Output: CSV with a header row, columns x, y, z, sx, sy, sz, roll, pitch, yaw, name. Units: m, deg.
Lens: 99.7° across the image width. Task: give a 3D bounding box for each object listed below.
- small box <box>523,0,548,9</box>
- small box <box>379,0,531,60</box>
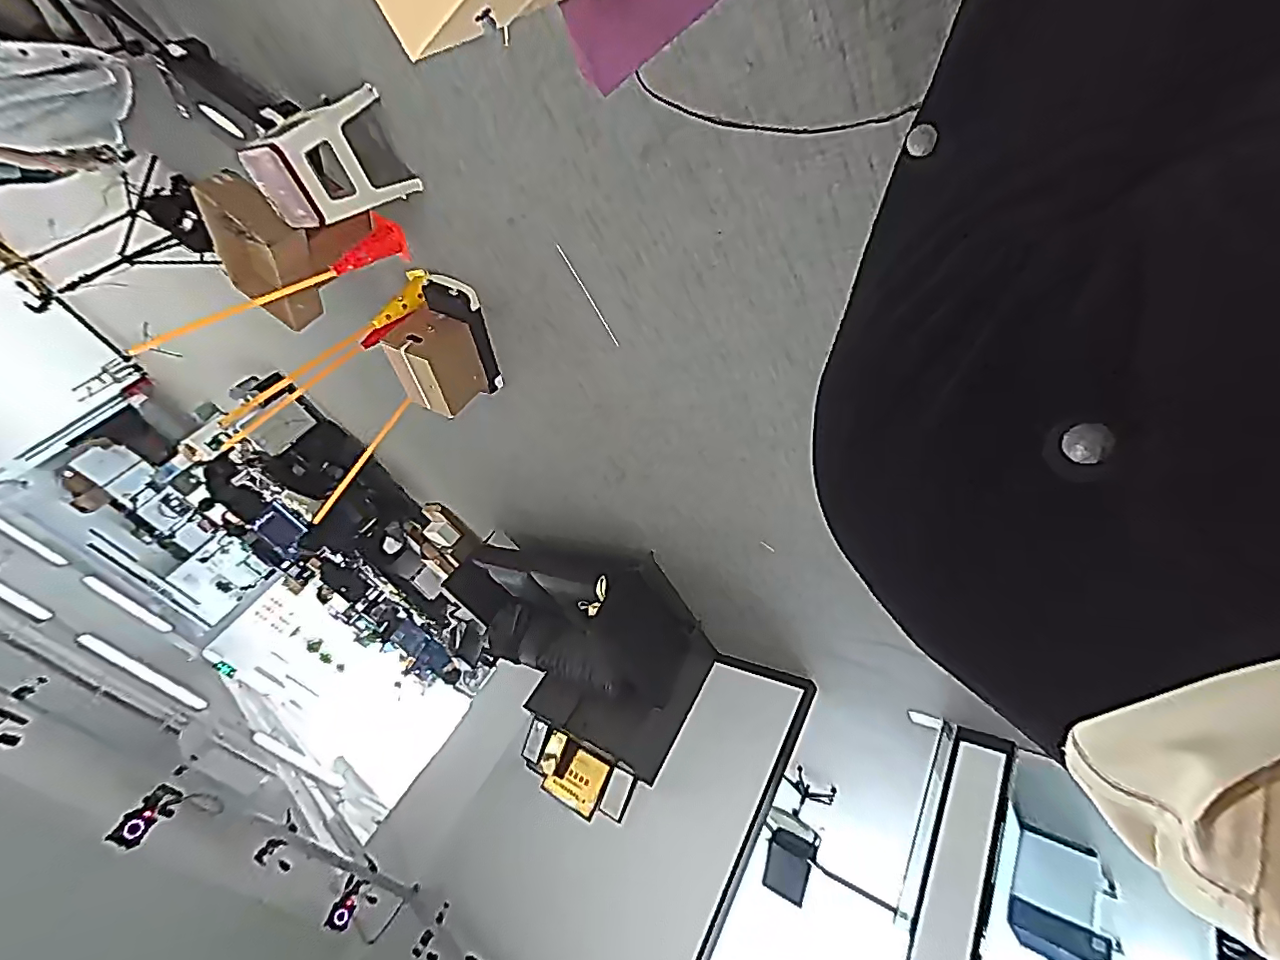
x,y,z,sx,sy,sz,roll,pitch,yaw,name
-0.109,-0.698,0.628,0.168,0.176,0.179,2,134,45,small box
-0.187,-0.582,0.546,0.168,0.176,0.179,3,134,45,small box
